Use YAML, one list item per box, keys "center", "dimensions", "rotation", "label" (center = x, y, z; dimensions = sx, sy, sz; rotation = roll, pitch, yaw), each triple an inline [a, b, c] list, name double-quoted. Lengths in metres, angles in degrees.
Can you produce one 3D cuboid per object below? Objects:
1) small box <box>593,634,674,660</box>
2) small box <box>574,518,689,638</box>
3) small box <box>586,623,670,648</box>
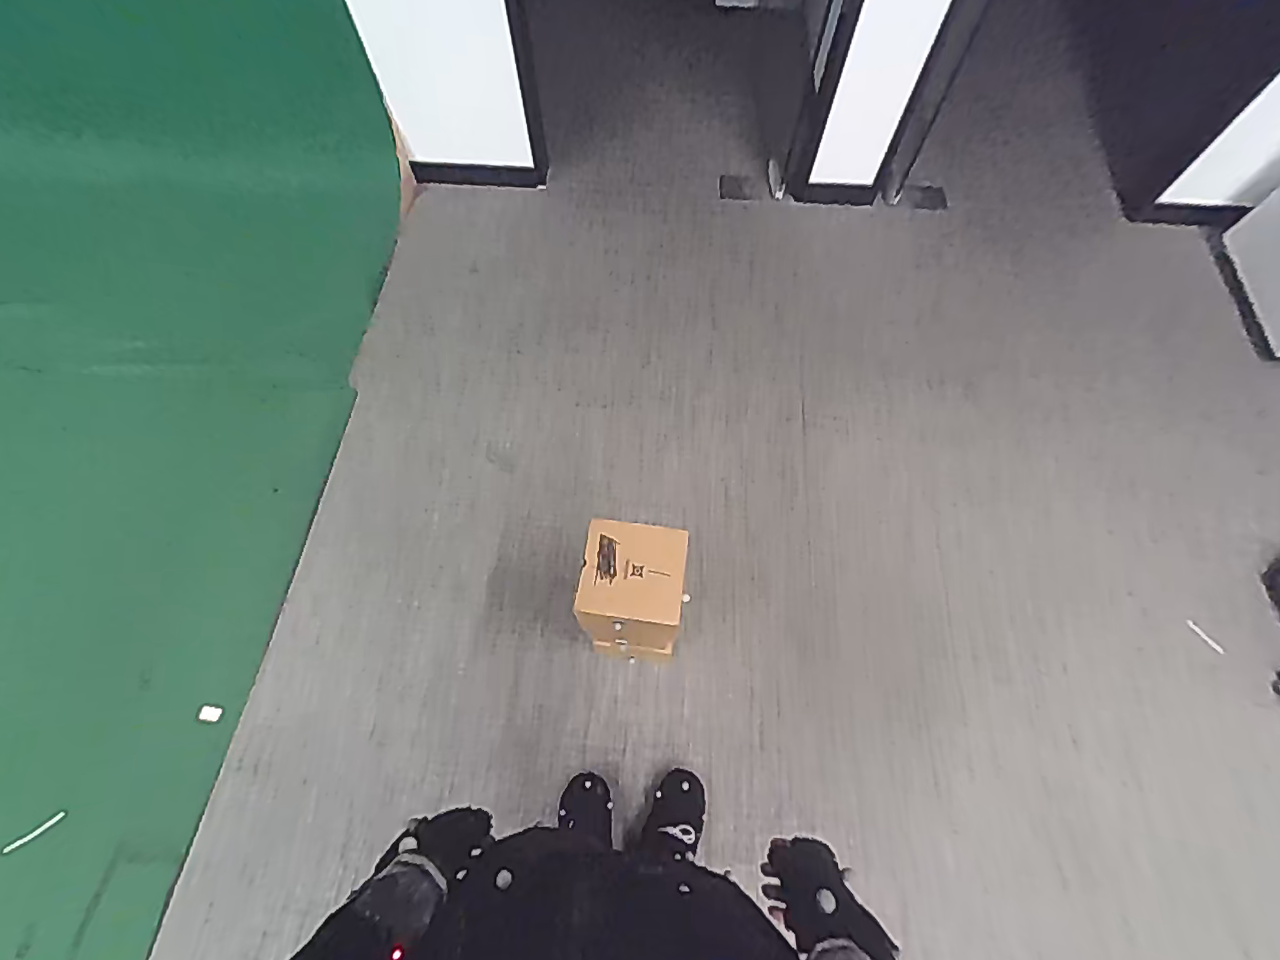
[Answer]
- center: [-0.008, 0.325, 1.280]
  dimensions: [0.179, 0.176, 0.168]
  rotation: [7, 65, 2]
  label: "small box"
- center: [-0.010, 0.184, 0.985]
  dimensions: [0.179, 0.176, 0.168]
  rotation: [8, 65, 4]
  label: "small box"
- center: [-0.013, 0.246, 1.138]
  dimensions: [0.168, 0.176, 0.179]
  rotation: [6, 66, 4]
  label: "small box"
